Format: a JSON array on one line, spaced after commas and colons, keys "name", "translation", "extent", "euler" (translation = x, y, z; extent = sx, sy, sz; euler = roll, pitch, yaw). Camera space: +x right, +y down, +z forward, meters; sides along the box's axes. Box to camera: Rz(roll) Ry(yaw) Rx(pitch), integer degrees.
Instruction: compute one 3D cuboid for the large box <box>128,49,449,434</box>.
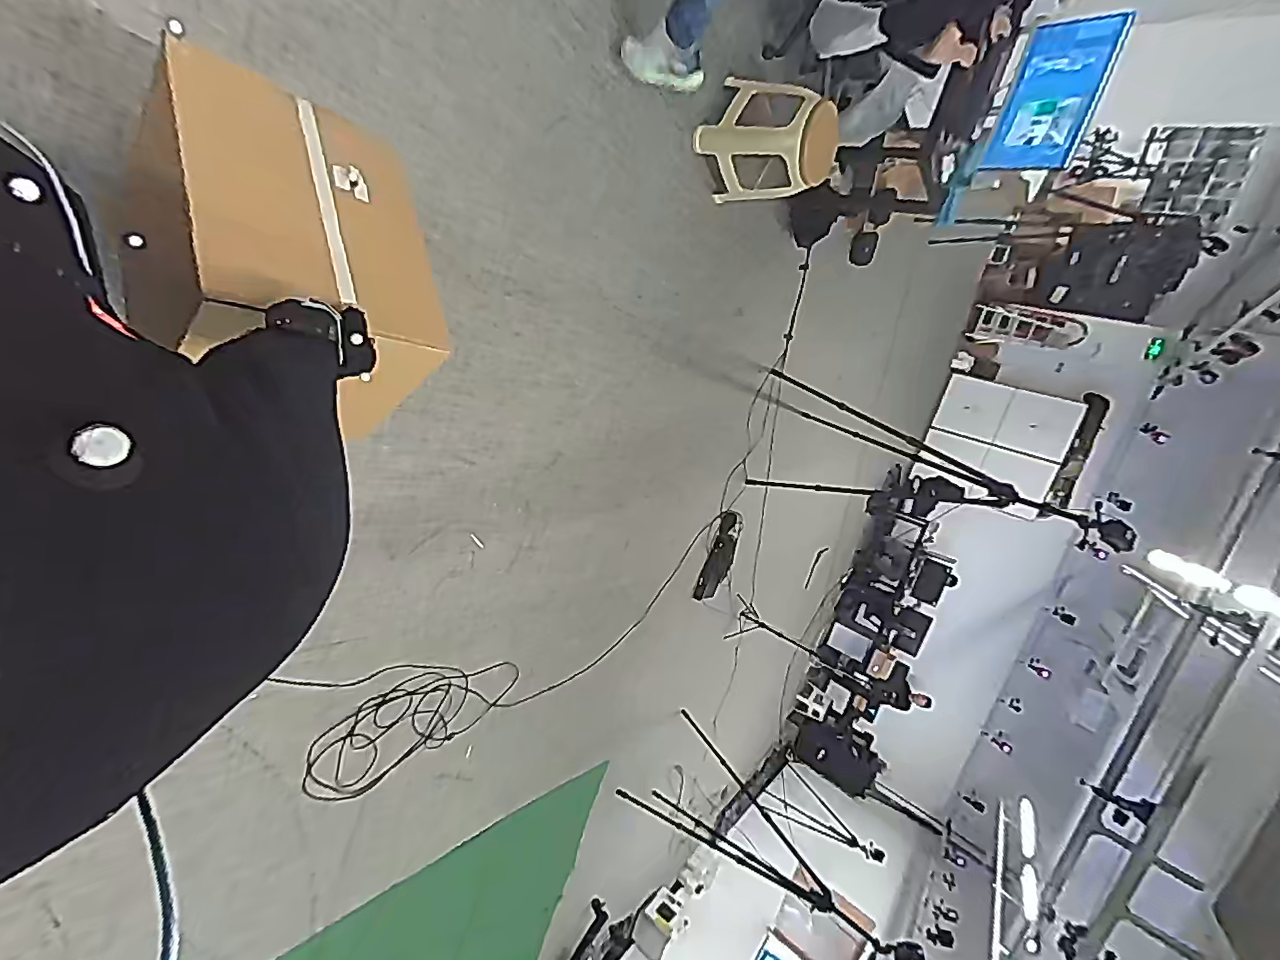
[{"name": "large box", "translation": [-0.560, -0.318, 0.854], "extent": [0.320, 0.320, 0.408], "euler": [0, 67, -53]}]
